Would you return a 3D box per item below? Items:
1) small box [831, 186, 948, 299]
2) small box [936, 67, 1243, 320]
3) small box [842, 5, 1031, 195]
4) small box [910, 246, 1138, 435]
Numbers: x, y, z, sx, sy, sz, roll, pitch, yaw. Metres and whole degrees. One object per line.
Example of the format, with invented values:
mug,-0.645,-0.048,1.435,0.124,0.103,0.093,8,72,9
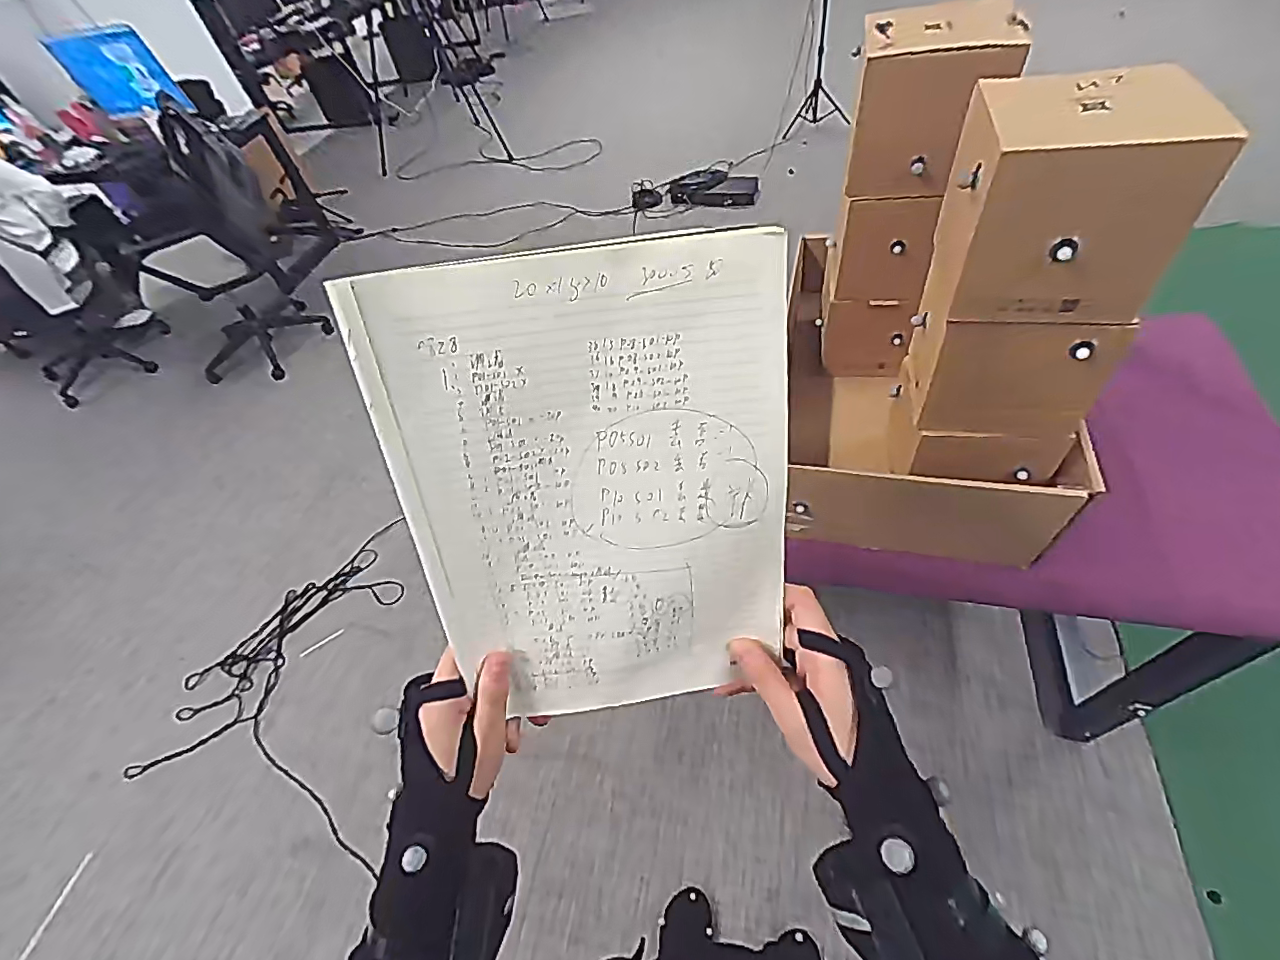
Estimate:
small box,0.408,-0.403,0.858,0.179,0.176,0.168,4,54,14
small box,0.410,-0.276,0.538,0.168,0.176,0.179,7,51,15
small box,0.384,-0.505,0.732,0.179,0.176,0.168,7,54,14
small box,0.440,-0.171,0.661,0.179,0.176,0.168,7,52,15
